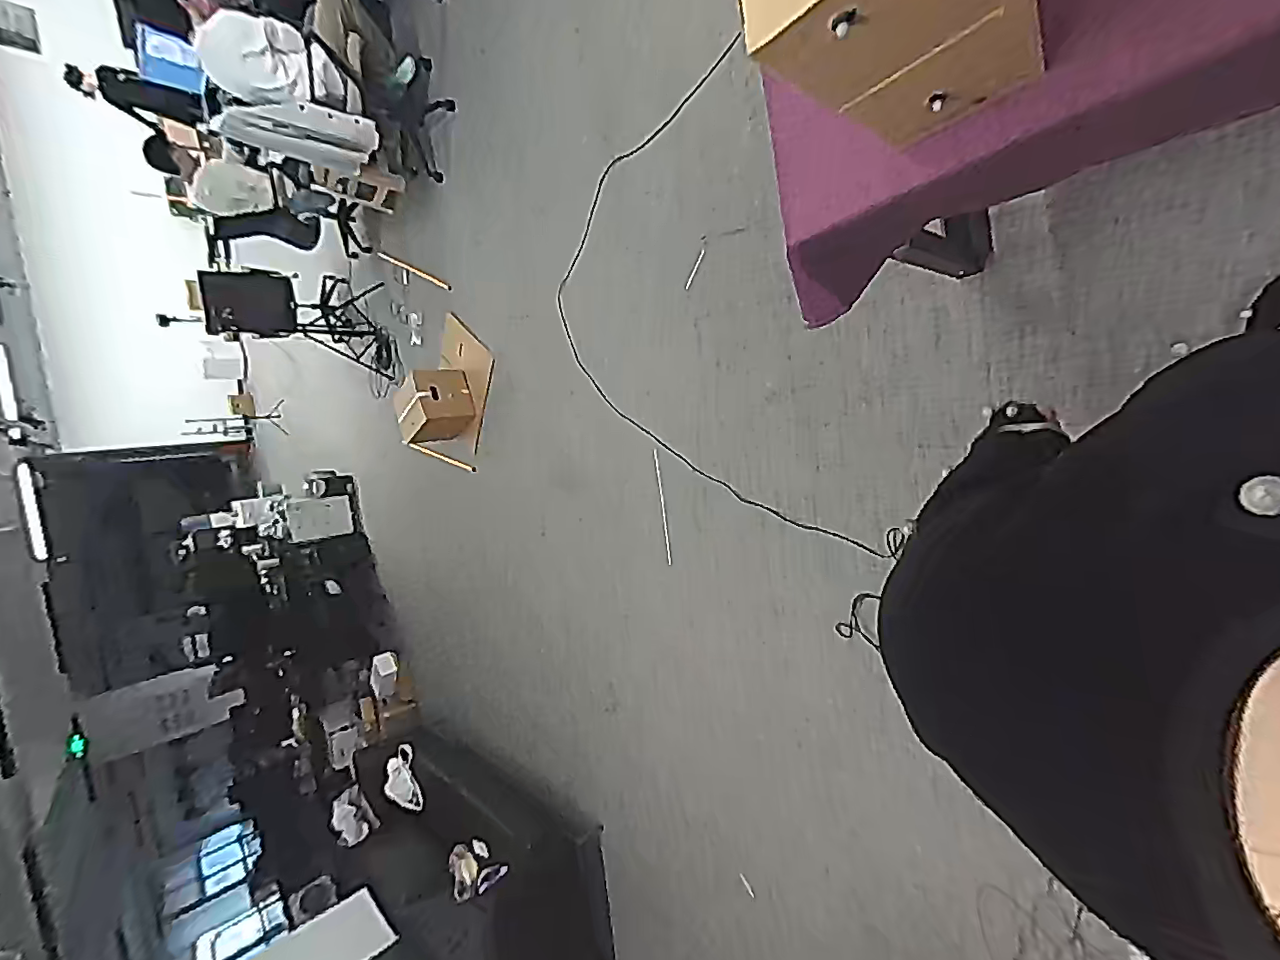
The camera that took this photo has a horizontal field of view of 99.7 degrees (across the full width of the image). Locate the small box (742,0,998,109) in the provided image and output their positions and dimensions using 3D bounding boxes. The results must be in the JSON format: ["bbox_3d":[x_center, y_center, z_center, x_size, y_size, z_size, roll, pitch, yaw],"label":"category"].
[{"bbox_3d":[0.211,-0.496,0.507,0.179,0.176,0.168,-7,92,47],"label":"small box"}]

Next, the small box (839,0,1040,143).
[{"bbox_3d":[0.333,-0.518,0.616,0.168,0.176,0.179,-6,92,48],"label":"small box"}]
